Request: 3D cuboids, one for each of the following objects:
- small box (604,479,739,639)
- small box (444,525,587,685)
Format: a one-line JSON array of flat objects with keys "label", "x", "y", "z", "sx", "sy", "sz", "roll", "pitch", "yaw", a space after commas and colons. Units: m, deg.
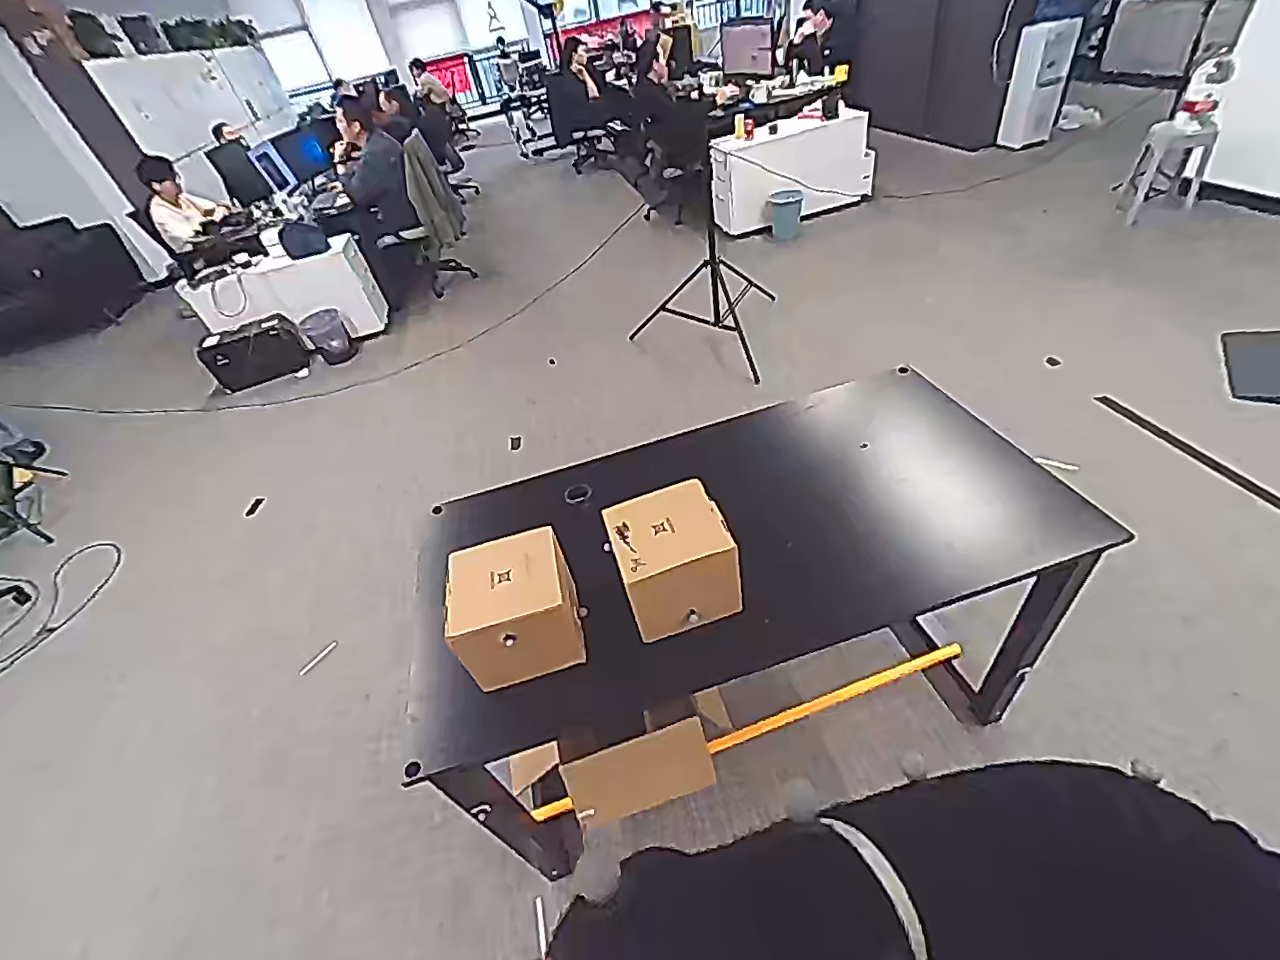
[{"label": "small box", "x": 0.053, "y": 0.132, "z": 0.896, "sx": 0.179, "sy": 0.176, "sz": 0.168, "roll": -17, "pitch": 42, "yaw": -6}, {"label": "small box", "x": -0.199, "y": 0.206, "z": 0.879, "sx": 0.179, "sy": 0.176, "sz": 0.168, "roll": -16, "pitch": 43, "yaw": -4}]
